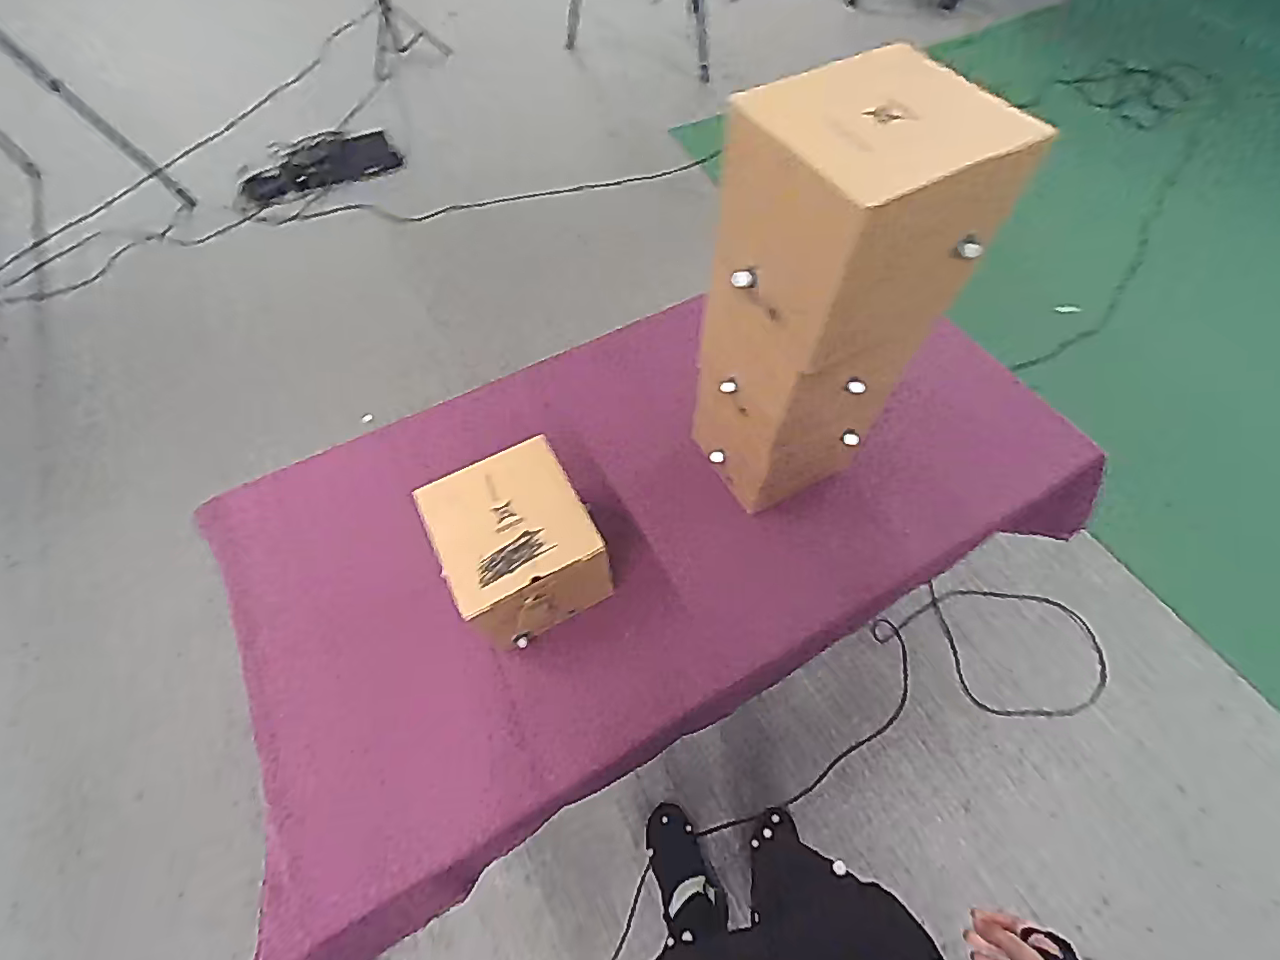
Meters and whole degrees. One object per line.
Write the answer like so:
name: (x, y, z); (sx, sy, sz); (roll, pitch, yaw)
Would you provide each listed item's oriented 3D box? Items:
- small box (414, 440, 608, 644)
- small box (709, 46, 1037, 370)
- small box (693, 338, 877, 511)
small box: (-0.151, 0.088, 0.682); (0.168, 0.176, 0.179); (-27, 63, -14)
small box: (0.177, -0.231, 0.476); (0.179, 0.176, 0.168); (-26, 63, -12)
small box: (0.190, -0.085, 0.770); (0.179, 0.176, 0.168); (-26, 63, -13)
